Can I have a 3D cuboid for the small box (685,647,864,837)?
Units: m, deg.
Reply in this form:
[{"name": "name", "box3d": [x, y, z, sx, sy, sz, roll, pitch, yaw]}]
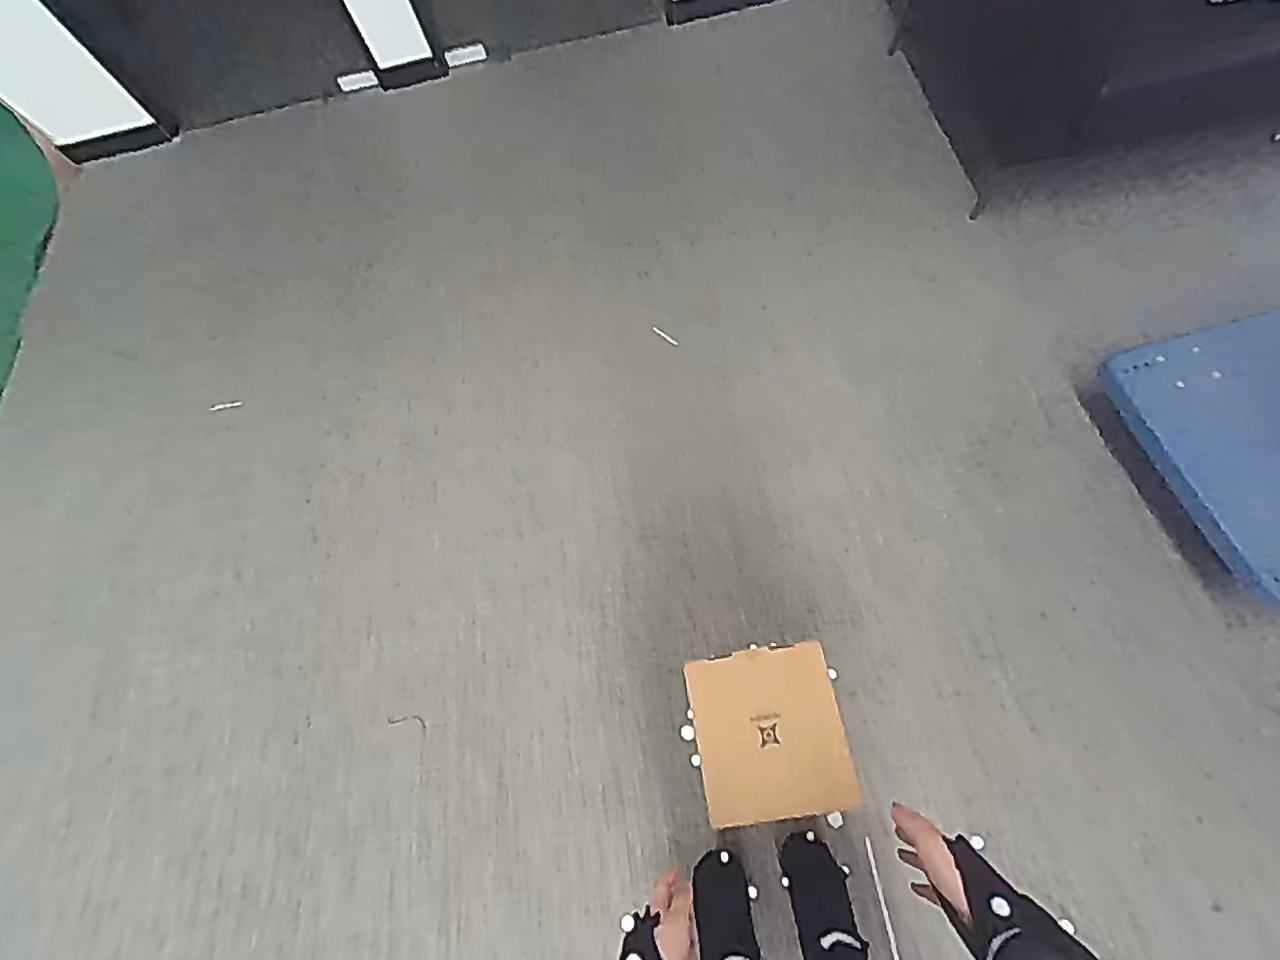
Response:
[{"name": "small box", "box3d": [0.156, 0.315, 0.675, 0.168, 0.176, 0.179, -11, 67, 4]}]
